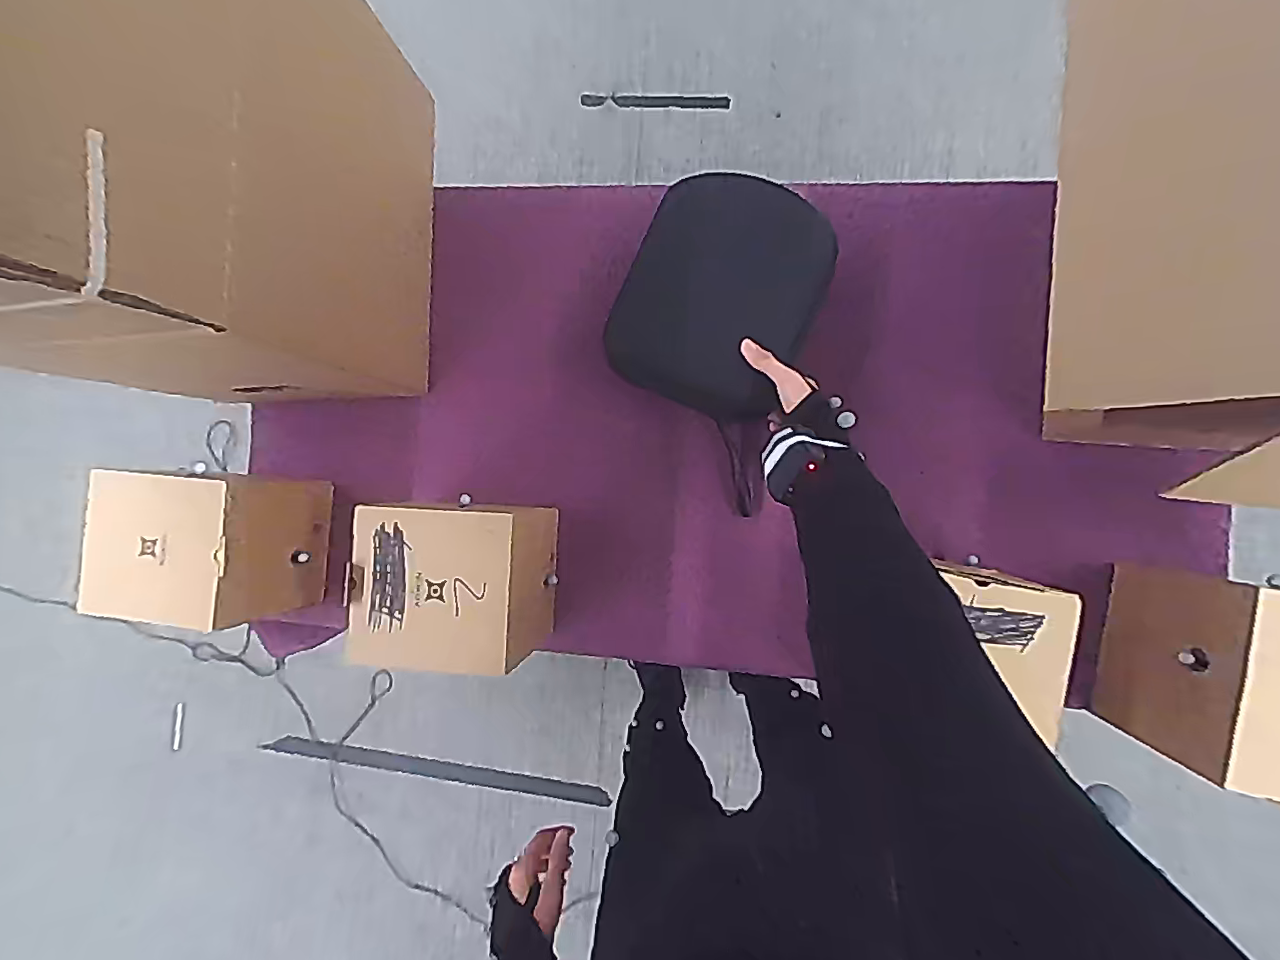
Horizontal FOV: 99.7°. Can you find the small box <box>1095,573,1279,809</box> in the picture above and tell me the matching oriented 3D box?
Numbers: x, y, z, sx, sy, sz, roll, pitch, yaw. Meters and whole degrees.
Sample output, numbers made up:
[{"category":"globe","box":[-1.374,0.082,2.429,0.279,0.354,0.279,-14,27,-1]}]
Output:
[{"category":"small box","box":[0.584,0.194,0.513,0.168,0.176,0.179,11,89,9]}]

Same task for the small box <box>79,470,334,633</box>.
[{"category":"small box","box":[-0.525,0.081,0.676,0.179,0.176,0.168,5,89,7]}]
